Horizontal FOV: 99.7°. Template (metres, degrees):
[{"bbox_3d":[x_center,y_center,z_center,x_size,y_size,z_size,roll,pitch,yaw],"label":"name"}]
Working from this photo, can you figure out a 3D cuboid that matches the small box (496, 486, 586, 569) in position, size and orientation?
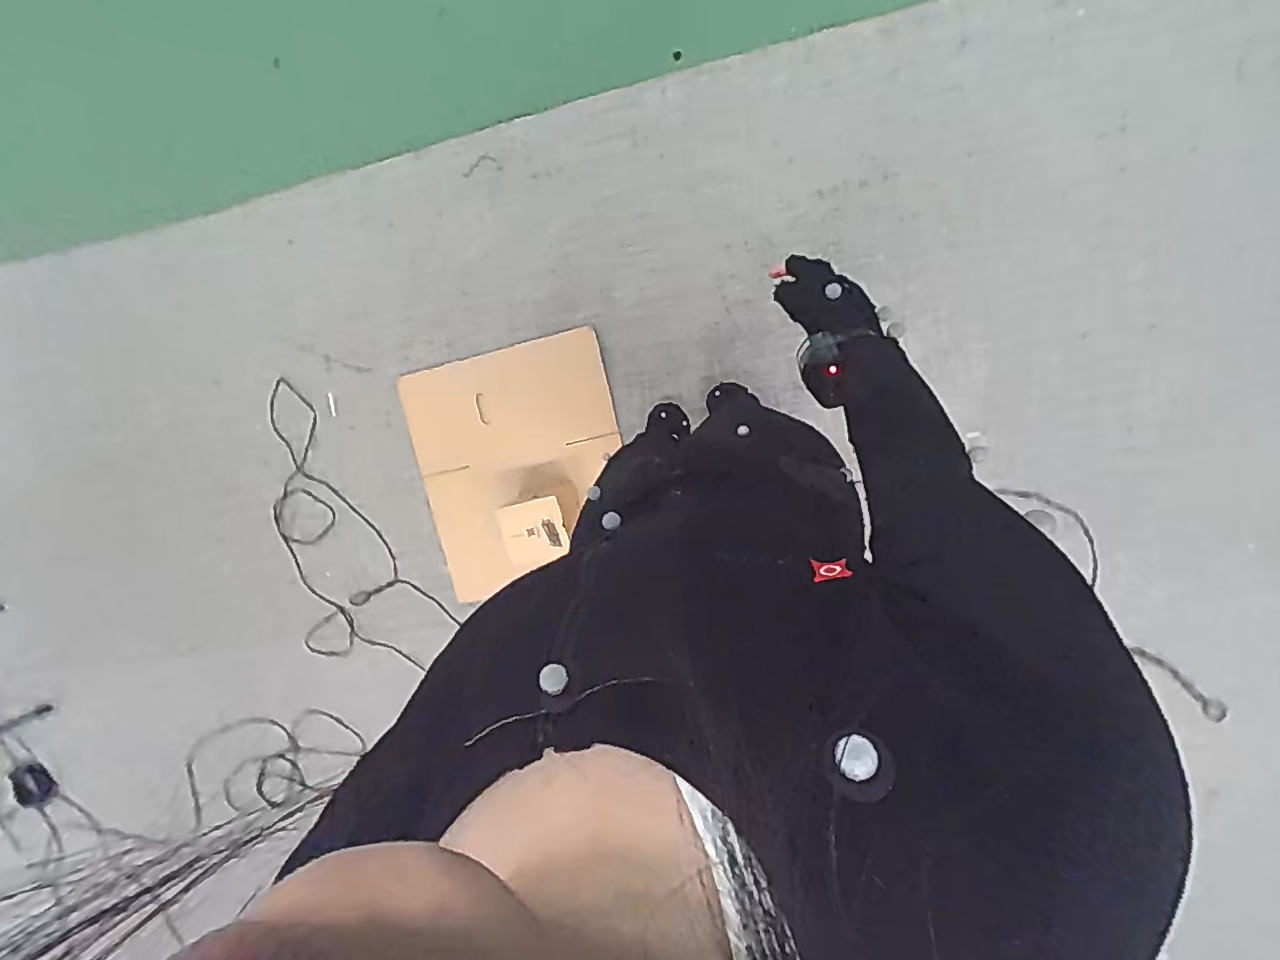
[{"bbox_3d":[-0.257,0.123,1.465,0.179,0.176,0.168,-14,97,11],"label":"small box"}]
